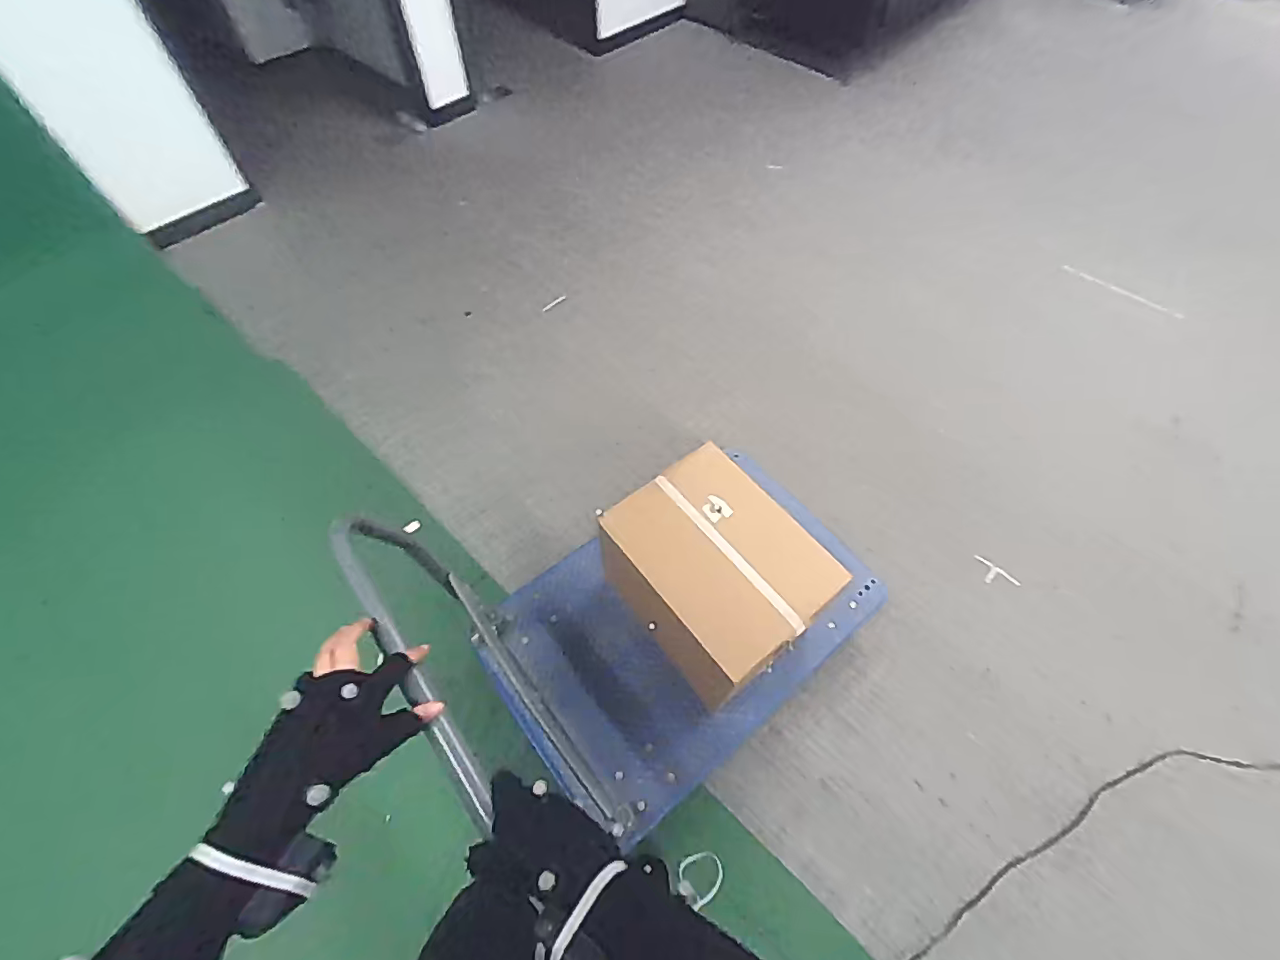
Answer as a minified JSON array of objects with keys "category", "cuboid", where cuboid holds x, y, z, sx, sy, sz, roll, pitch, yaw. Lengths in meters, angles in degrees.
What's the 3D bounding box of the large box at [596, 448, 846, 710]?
[{"category":"large box","cuboid":[0.154,0.216,1.180,0.320,0.320,0.408,-33,63,-21]}]
